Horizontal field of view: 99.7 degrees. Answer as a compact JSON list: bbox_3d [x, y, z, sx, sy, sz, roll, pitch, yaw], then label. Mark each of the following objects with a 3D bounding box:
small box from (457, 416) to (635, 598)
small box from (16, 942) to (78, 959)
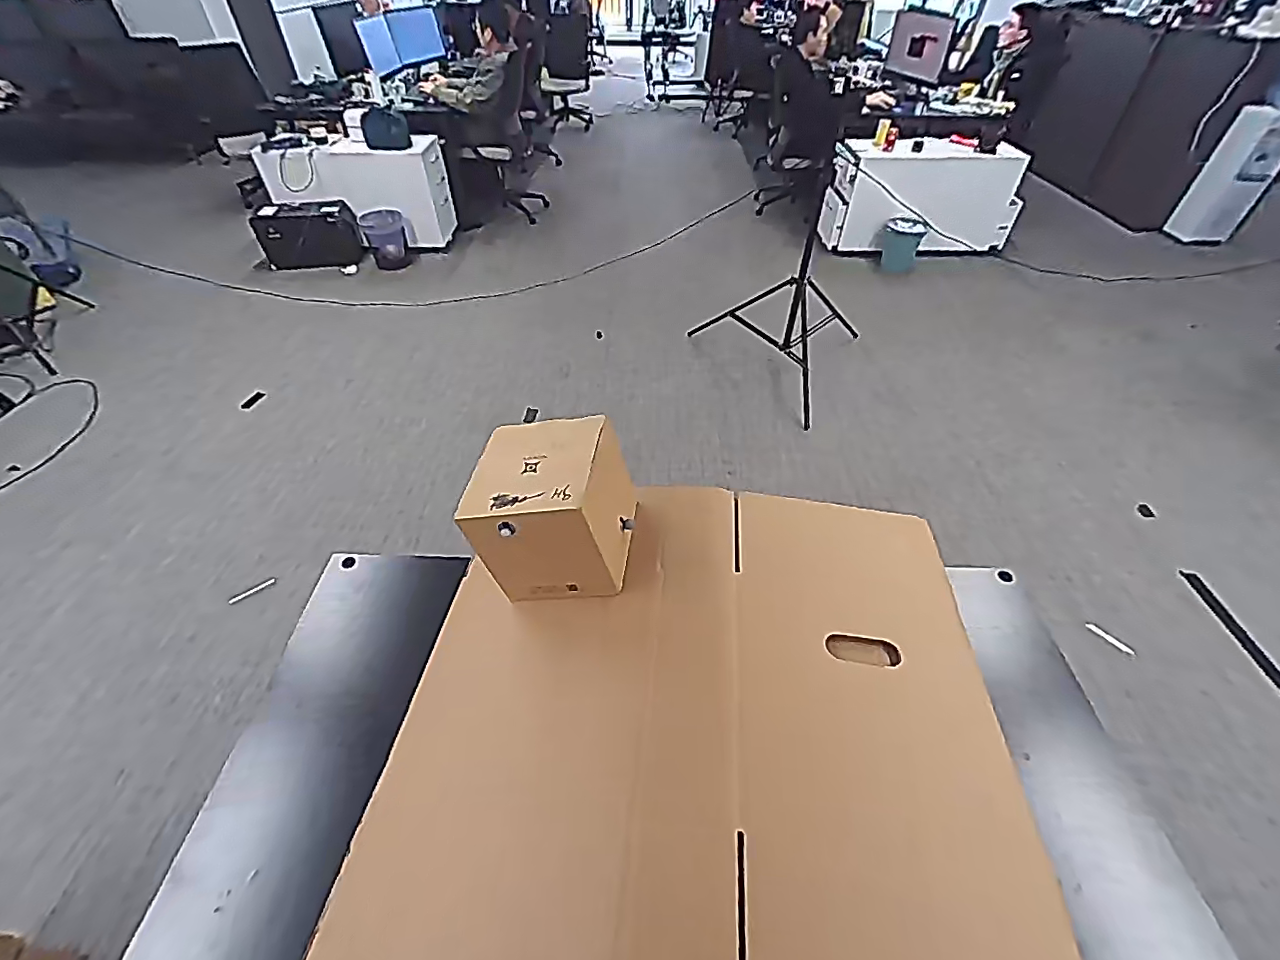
[{"bbox_3d":[-0.111,0.039,0.732,0.168,0.176,0.179,-6,42,15],"label":"small box"},{"bbox_3d":[-1.228,0.993,1.012,0.168,0.176,0.179,-2,46,-2],"label":"small box"}]
